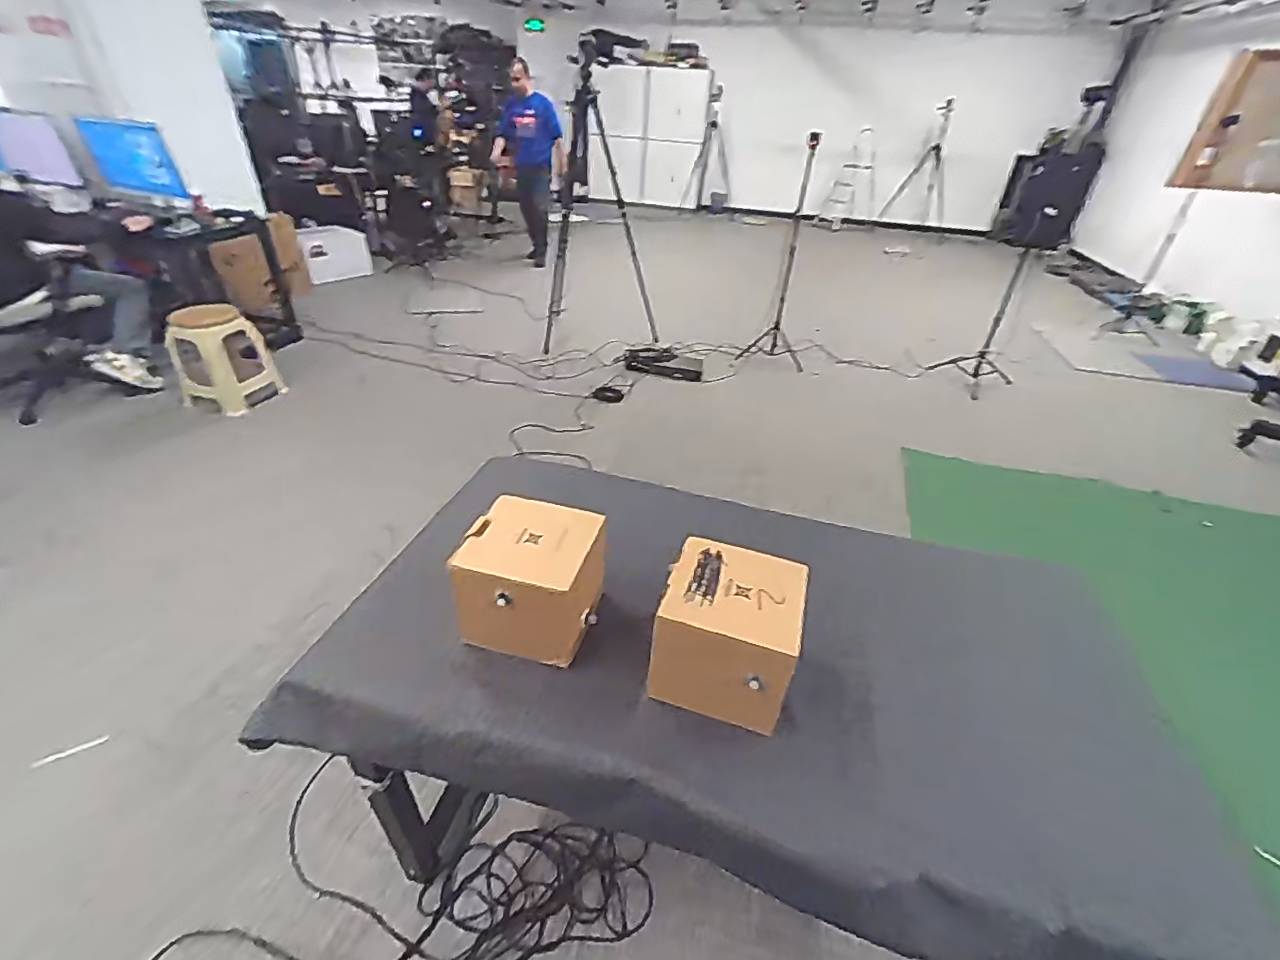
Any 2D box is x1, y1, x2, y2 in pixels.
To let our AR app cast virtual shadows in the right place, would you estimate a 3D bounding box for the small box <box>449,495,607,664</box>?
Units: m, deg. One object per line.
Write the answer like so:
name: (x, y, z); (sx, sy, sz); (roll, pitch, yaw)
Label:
small box: (-0.159, 0.150, 0.817); (0.179, 0.176, 0.168); (12, 36, 10)
